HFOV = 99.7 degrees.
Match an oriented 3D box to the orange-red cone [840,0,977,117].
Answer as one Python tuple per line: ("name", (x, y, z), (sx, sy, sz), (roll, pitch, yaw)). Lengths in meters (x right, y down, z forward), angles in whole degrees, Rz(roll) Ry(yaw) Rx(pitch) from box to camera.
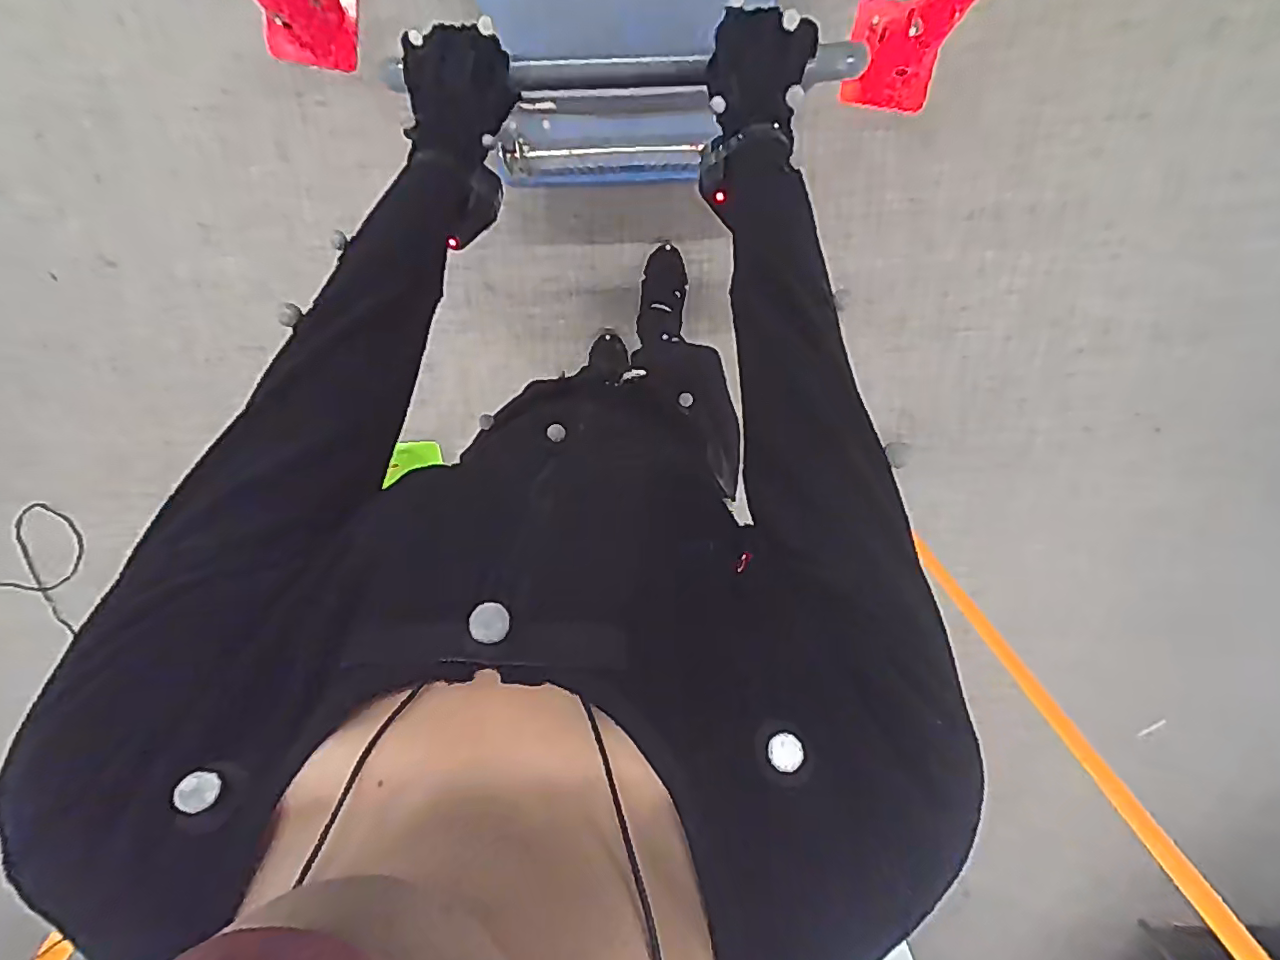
("orange-red cone", (0.561, -0.880, 1.046), (0.198, 0.360, 0.199), (9, 109, -2))
